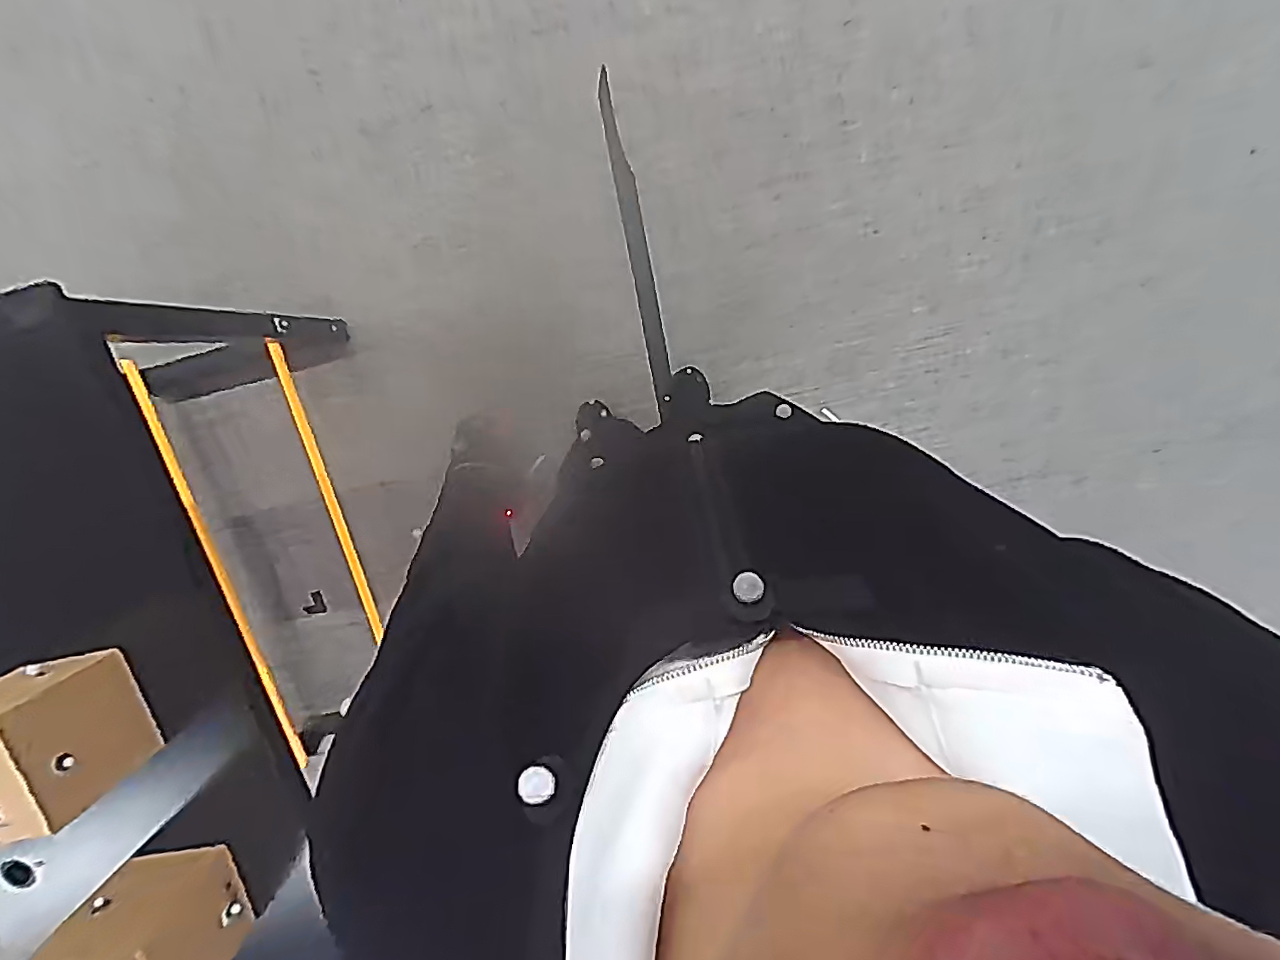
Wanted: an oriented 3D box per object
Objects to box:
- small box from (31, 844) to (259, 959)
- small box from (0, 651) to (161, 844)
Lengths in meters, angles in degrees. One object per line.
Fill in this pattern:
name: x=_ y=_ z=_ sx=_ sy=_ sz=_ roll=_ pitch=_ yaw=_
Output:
small box: x=-0.751 y=0.711 z=0.841 sx=0.179 sy=0.176 sz=0.168 roll=-10 pitch=104 yaw=2
small box: x=-0.838 y=0.370 z=0.757 sx=0.168 sy=0.176 sz=0.179 roll=-12 pitch=103 yaw=3
